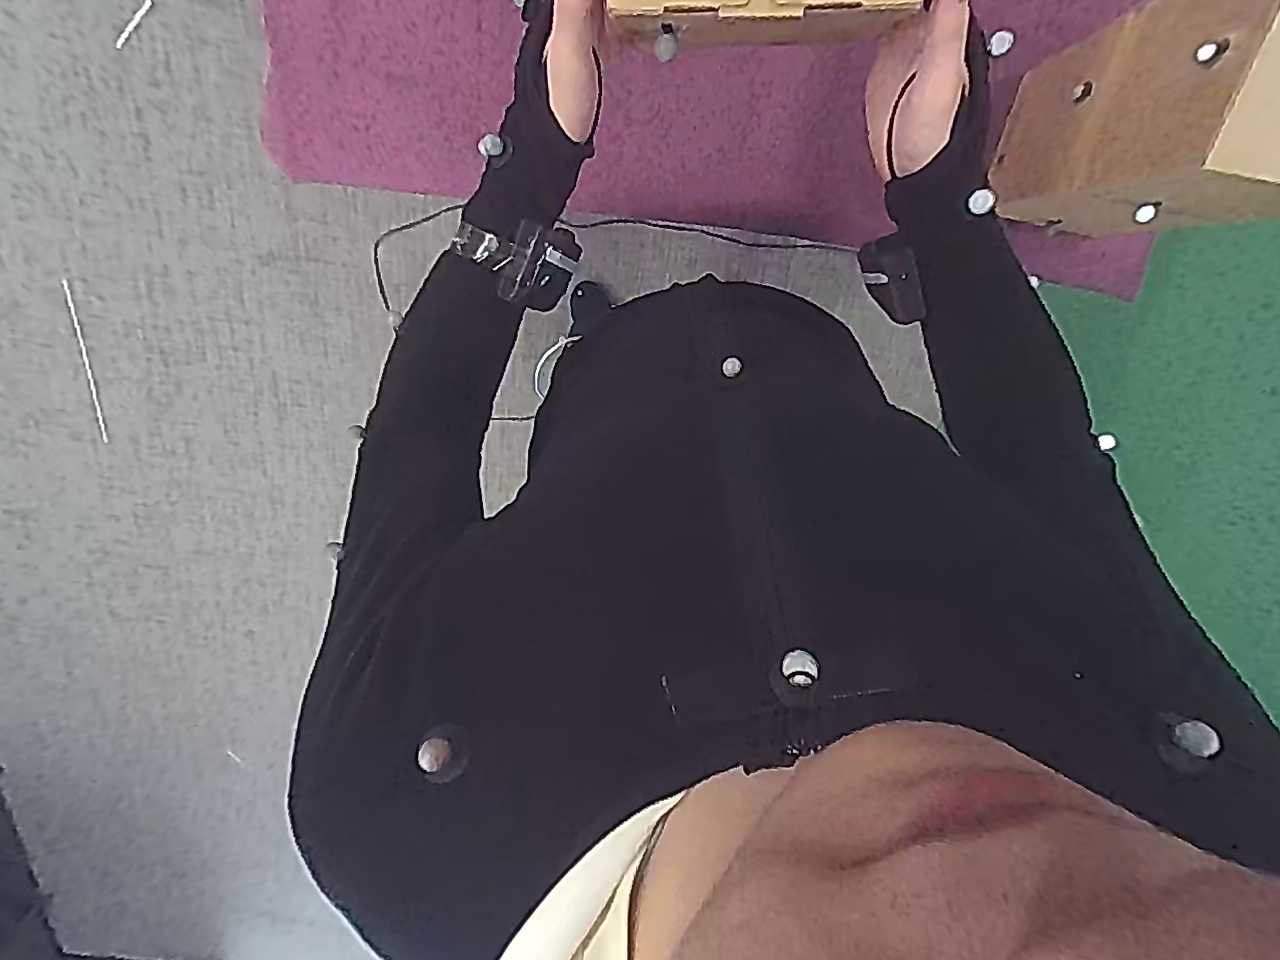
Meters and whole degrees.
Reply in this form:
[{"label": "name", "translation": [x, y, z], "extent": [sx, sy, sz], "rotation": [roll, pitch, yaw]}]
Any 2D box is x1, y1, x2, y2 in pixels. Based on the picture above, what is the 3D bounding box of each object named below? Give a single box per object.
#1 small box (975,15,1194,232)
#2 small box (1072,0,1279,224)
[{"label": "small box", "translation": [0.555, -0.403, 0.646], "extent": [0.179, 0.176, 0.168], "rotation": [11, 109, -3]}, {"label": "small box", "translation": [0.554, -0.349, 0.492], "extent": [0.168, 0.176, 0.179], "rotation": [11, 110, -1]}]
